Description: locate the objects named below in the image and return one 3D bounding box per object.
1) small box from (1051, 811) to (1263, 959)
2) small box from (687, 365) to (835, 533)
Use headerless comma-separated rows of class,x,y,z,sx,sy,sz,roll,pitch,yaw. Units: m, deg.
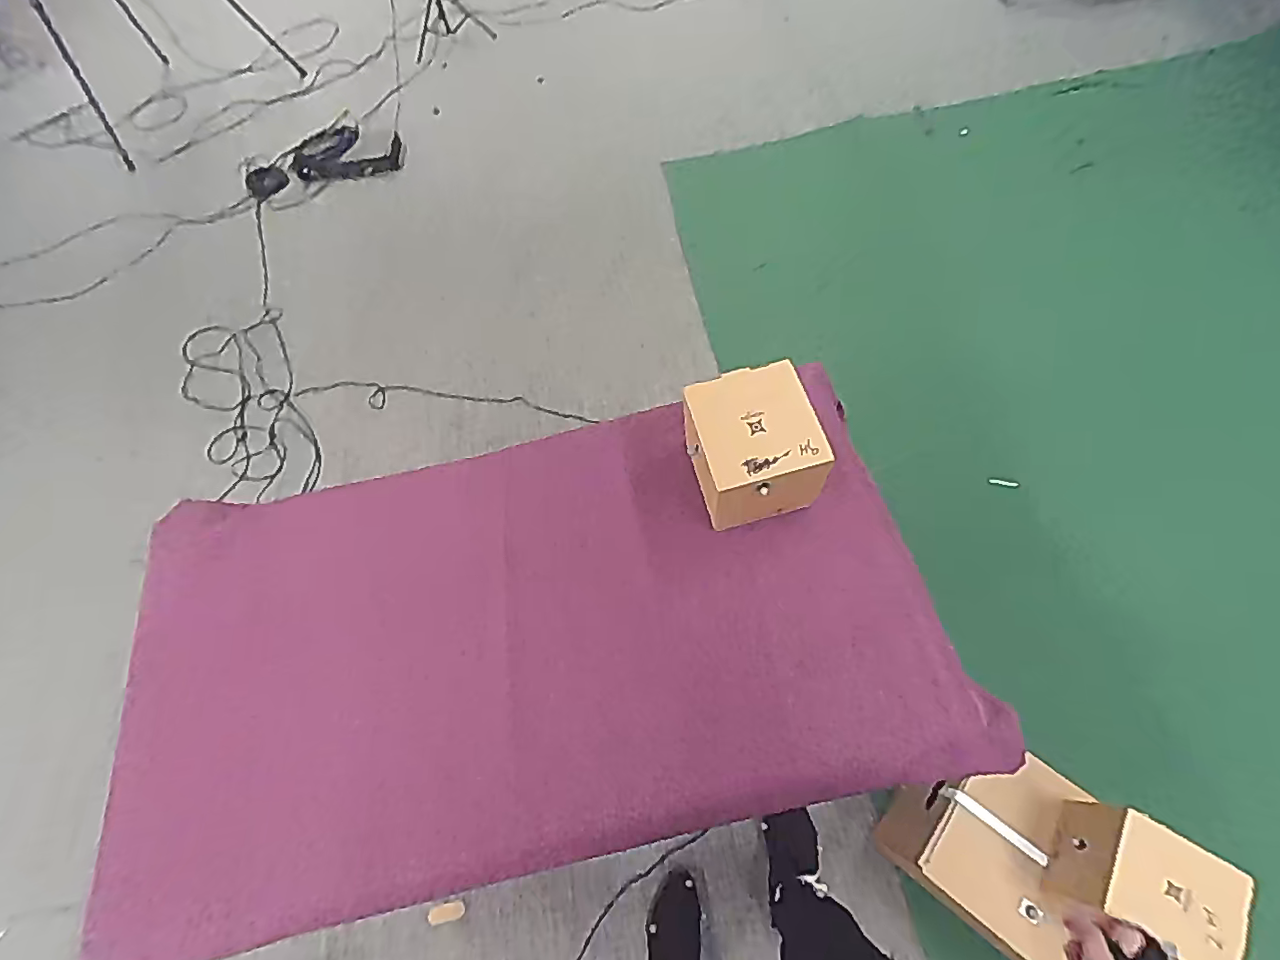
small box,0.821,0.667,0.876,0.179,0.176,0.168,29,69,18
small box,0.173,-0.042,0.830,0.168,0.176,0.179,-15,64,0
